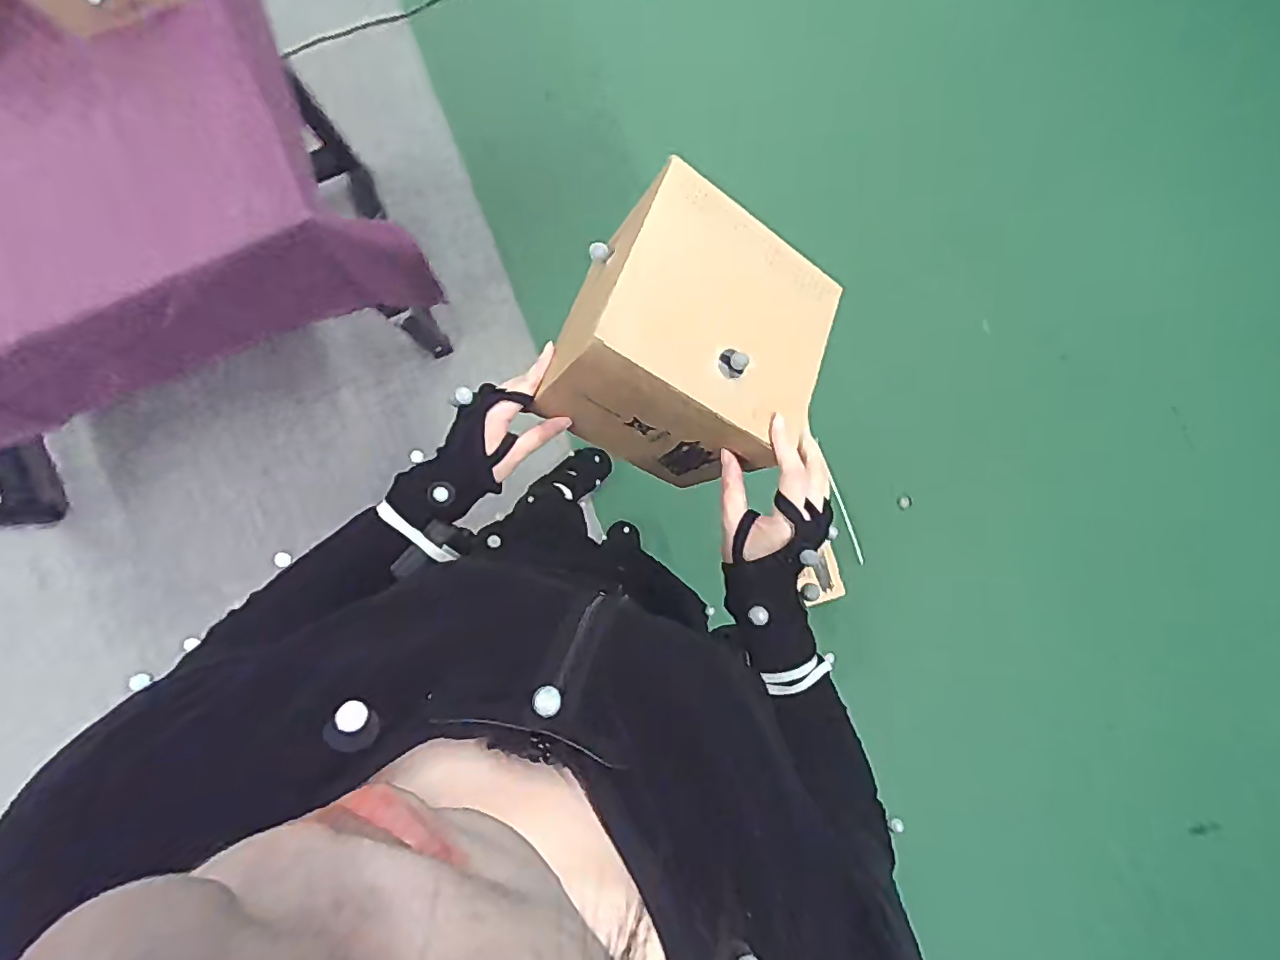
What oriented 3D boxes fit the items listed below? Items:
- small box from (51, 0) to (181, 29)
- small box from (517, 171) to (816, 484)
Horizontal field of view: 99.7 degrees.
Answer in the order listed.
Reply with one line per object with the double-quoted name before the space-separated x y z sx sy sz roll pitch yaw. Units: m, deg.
"small box" -0.755 -0.751 0.698 0.168 0.176 0.179 -21 92 -2
"small box" 0.023 -0.115 0.467 0.179 0.168 0.176 27 70 -20
